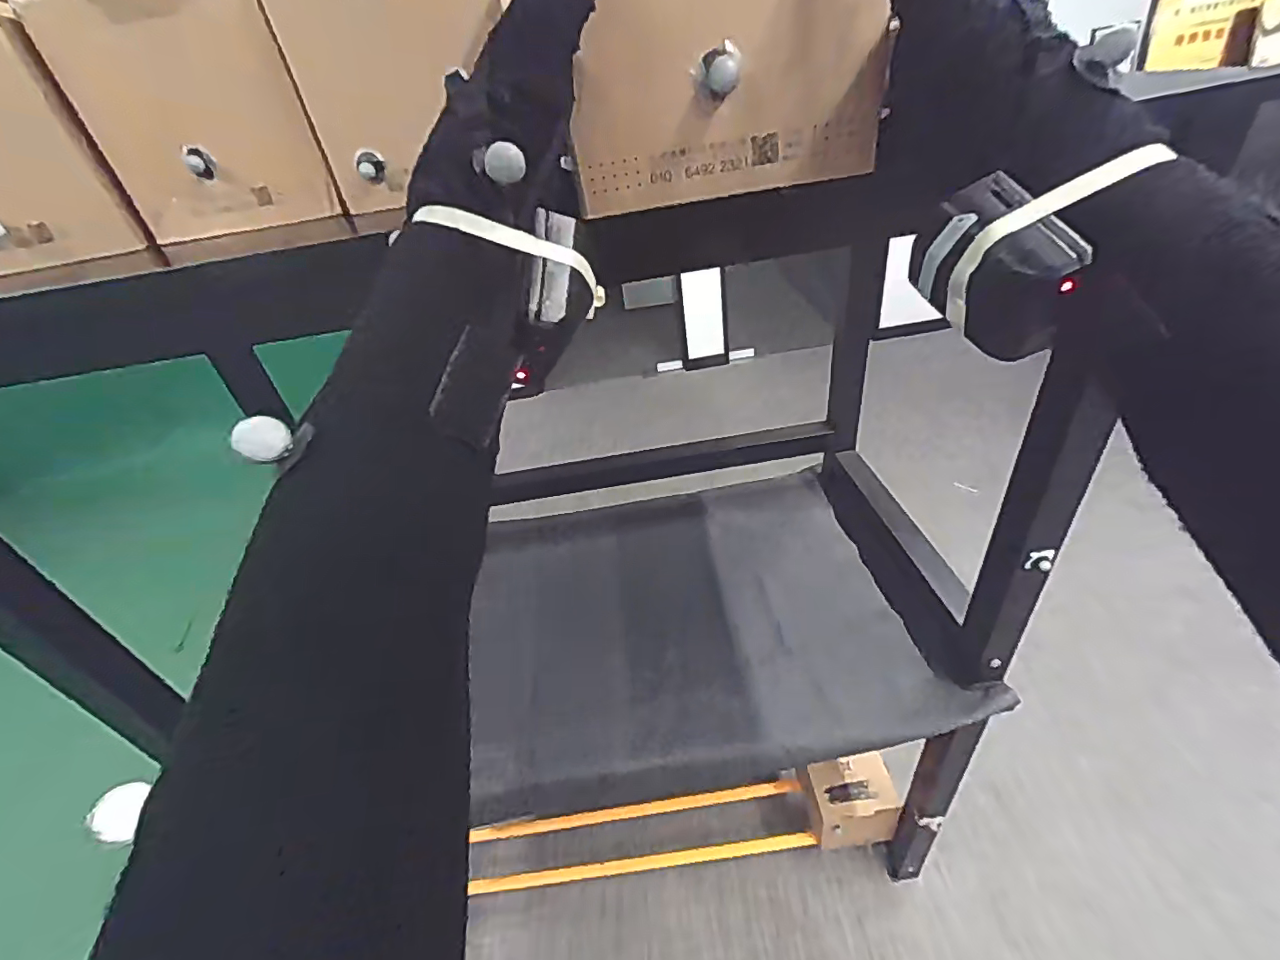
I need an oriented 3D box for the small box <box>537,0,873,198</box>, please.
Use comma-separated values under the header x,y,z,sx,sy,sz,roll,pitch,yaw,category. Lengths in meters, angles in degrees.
x,y,z,sx,sy,sz,roll,pitch,yaw,category
0.030,-0.281,0.325,0.168,0.176,0.179,-8,36,4,small box
